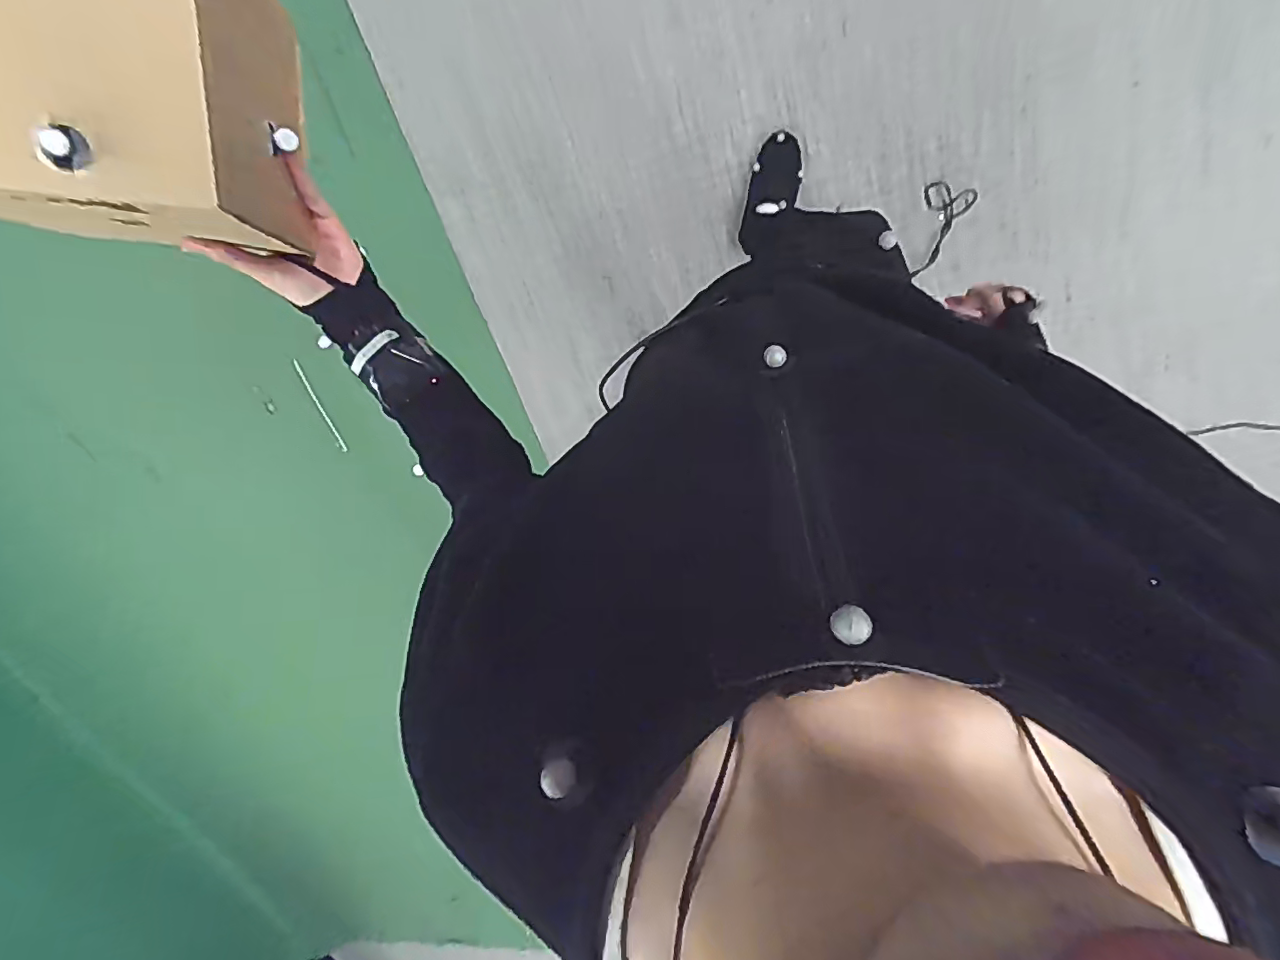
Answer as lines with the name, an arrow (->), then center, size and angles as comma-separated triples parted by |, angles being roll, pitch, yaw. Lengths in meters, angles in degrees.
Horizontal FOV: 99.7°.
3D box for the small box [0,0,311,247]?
small box -> -0.324, -0.254, 0.332 | 0.168, 0.179, 0.176 | -1, 103, -14
